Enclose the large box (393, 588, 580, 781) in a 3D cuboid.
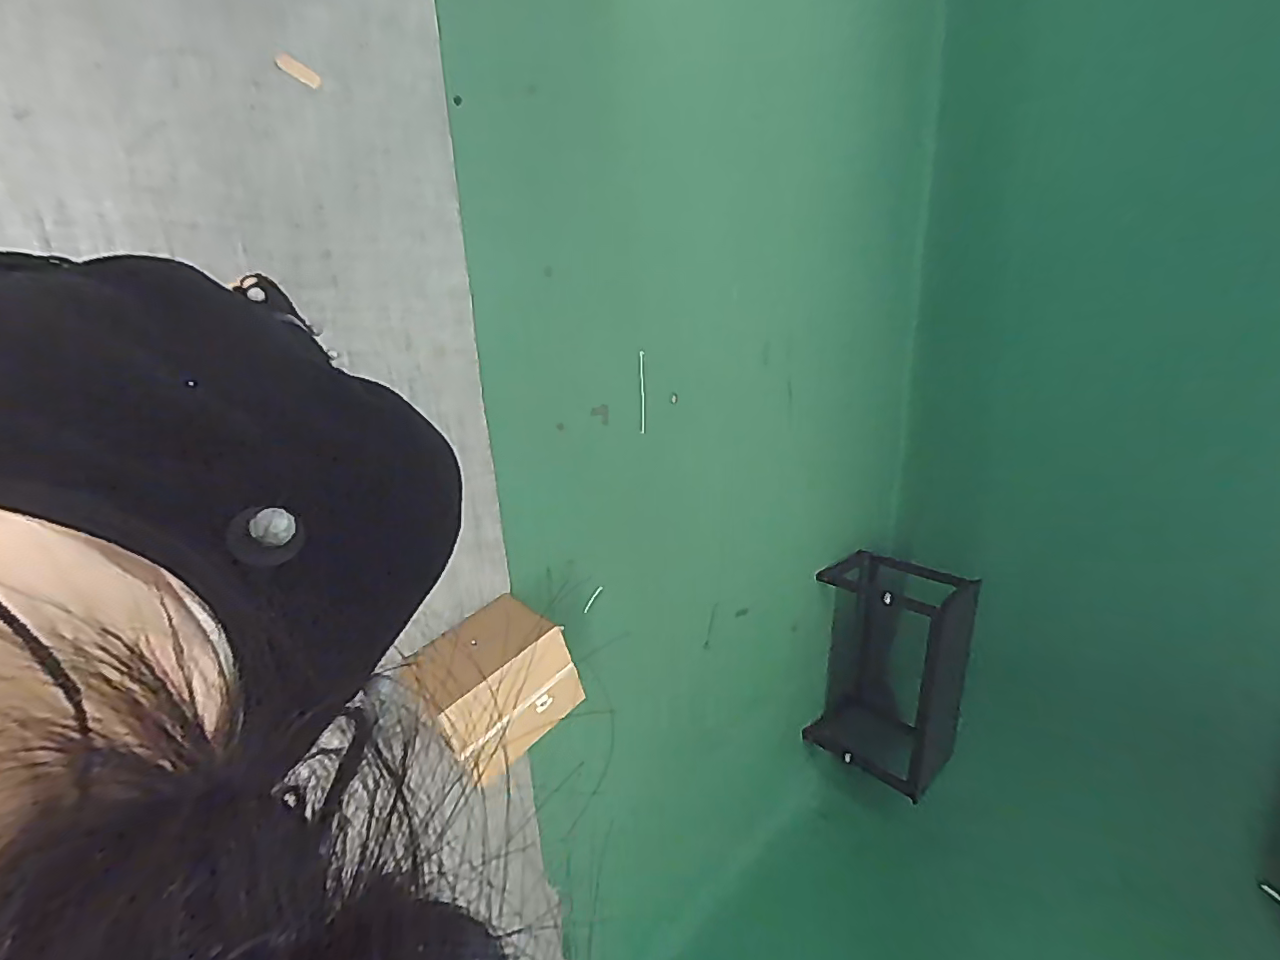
[{"bbox_3d":[-0.466,0.606,1.671,0.408,0.320,0.320,-33,123,-35],"label":"large box"}]
